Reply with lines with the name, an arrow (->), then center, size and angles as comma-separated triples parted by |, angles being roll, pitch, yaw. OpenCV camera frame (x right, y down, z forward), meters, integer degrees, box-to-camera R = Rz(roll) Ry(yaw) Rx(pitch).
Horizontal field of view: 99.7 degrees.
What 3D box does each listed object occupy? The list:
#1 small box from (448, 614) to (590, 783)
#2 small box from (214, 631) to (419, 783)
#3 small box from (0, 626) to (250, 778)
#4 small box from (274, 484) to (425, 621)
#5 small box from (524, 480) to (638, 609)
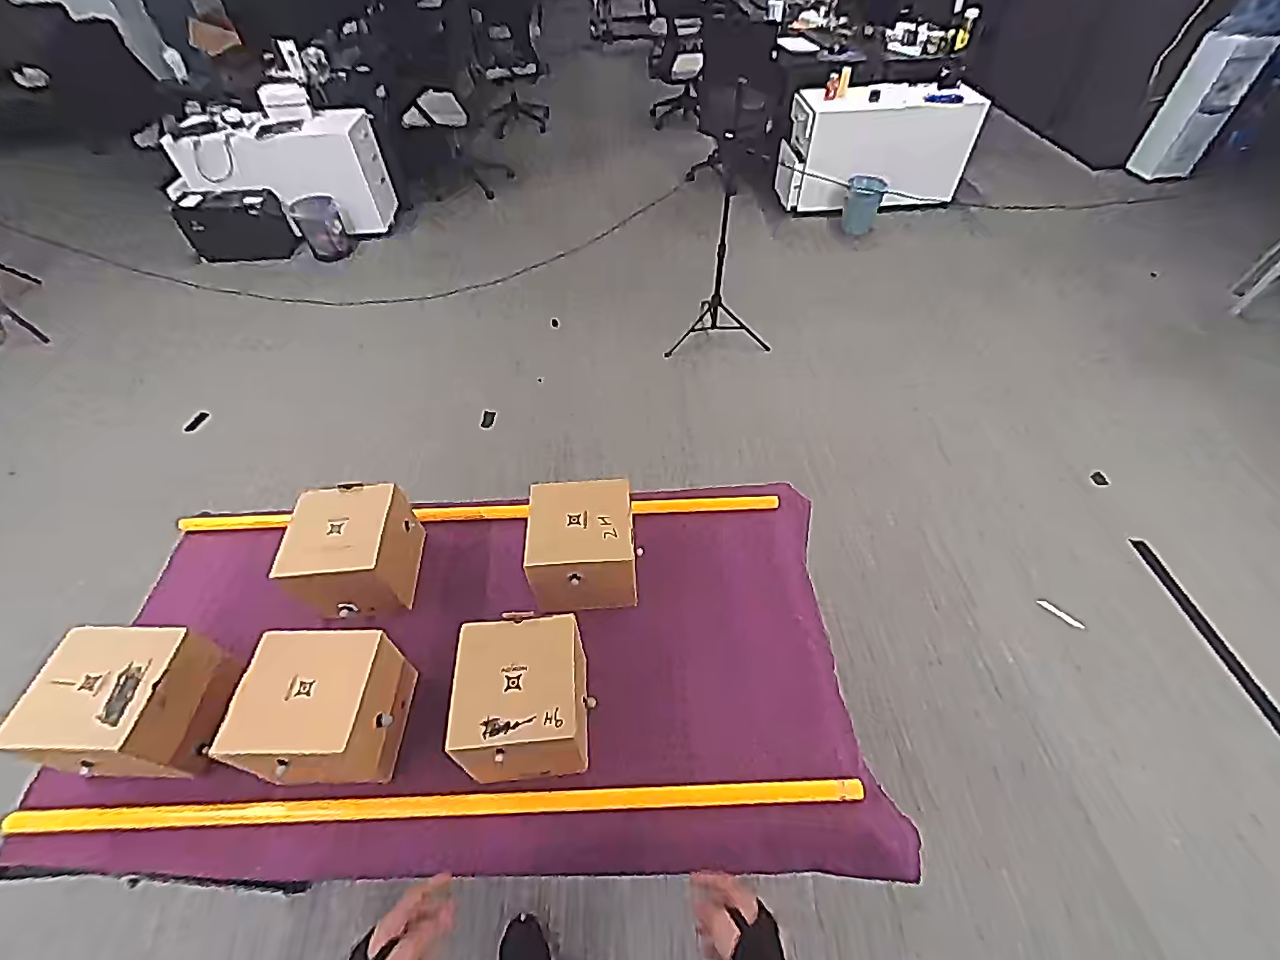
small box -> -0.164, 0.320, 0.791 | 0.168, 0.176, 0.179 | -5, 48, -2
small box -> -0.449, 0.333, 0.790 | 0.179, 0.176, 0.168 | -2, 50, 1
small box -> -0.732, 0.329, 0.796 | 0.179, 0.176, 0.168 | 1, 50, 2
small box -> -0.498, 0.129, 0.961 | 0.168, 0.176, 0.179 | -5, 51, -2
small box -> -0.096, 0.119, 0.958 | 0.179, 0.176, 0.168 | -3, 52, -1
